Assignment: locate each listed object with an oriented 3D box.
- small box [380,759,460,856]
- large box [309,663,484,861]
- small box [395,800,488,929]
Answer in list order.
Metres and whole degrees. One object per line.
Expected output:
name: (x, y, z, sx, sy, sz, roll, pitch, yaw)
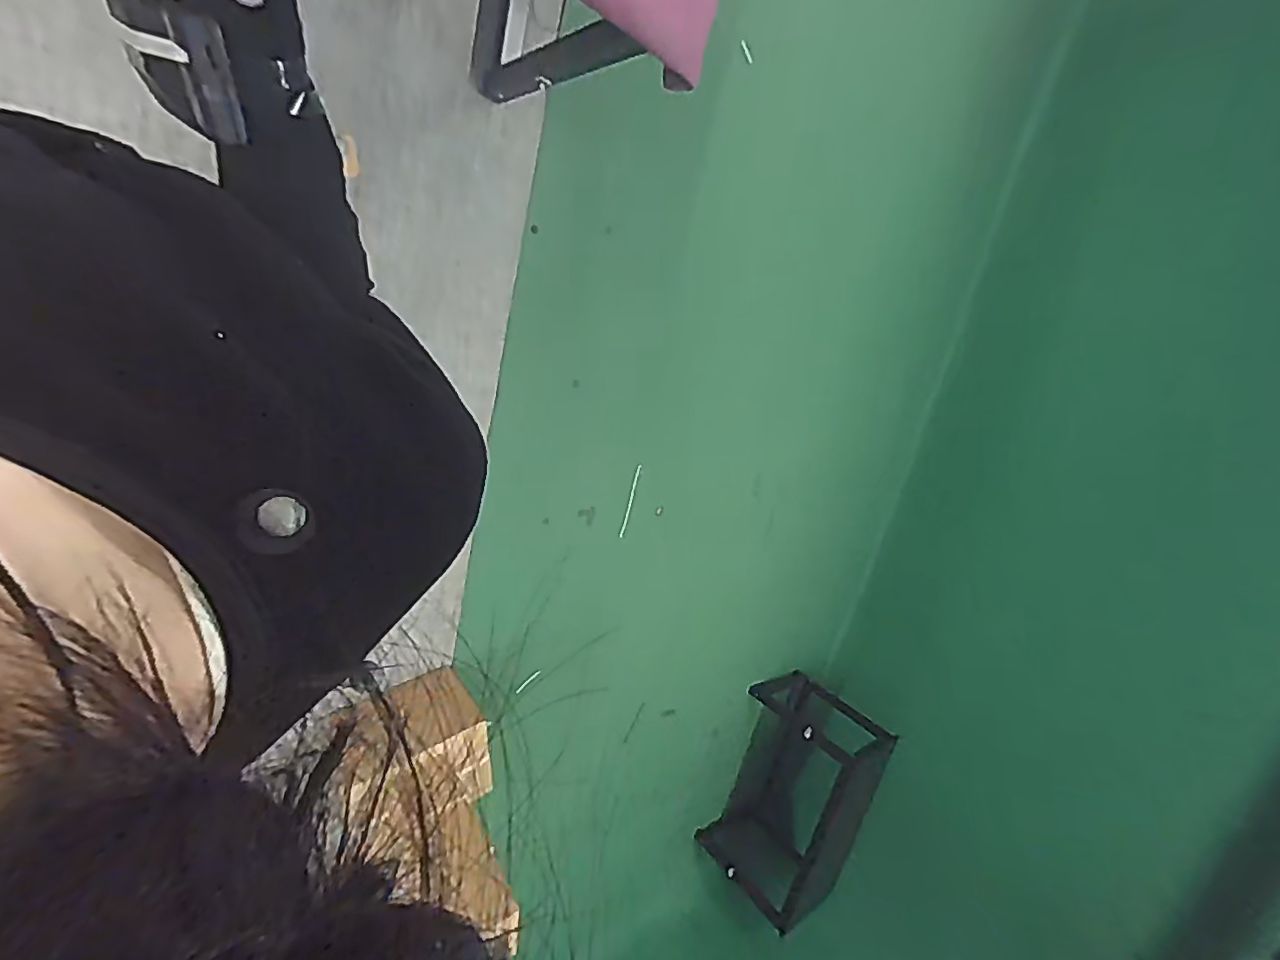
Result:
small box: (-0.613, 0.915, 1.503, 0.168, 0.176, 0.179, -9, 115, -39)
large box: (-0.754, 0.856, 1.700, 0.408, 0.320, 0.320, -17, 121, -39)
small box: (-0.513, 0.975, 1.391, 0.179, 0.176, 0.168, -8, 114, -40)
